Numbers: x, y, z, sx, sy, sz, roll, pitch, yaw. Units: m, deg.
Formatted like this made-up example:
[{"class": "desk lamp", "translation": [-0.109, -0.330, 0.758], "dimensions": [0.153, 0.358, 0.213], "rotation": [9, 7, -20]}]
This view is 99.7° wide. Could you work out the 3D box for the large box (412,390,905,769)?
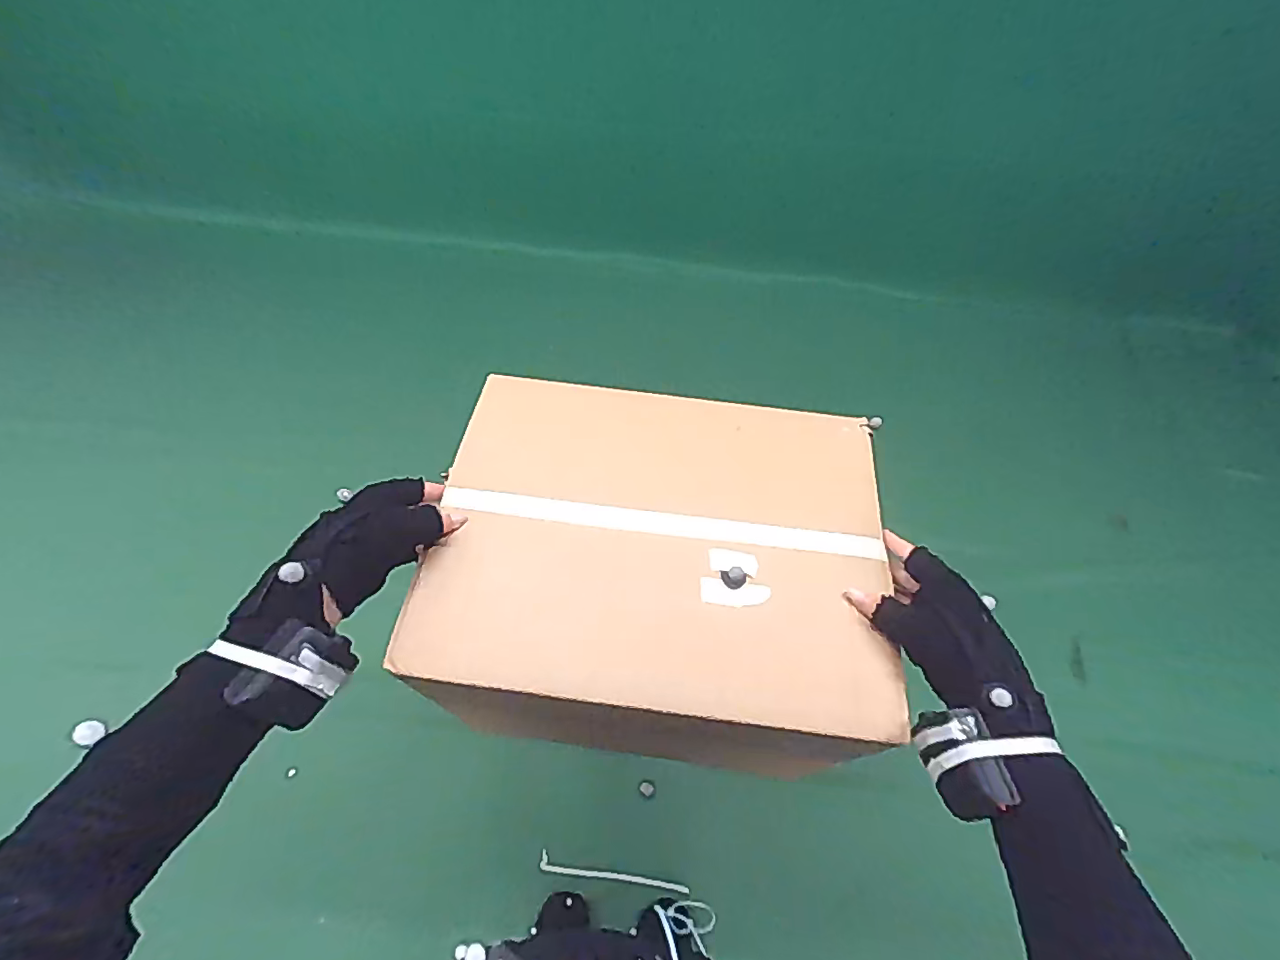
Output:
[{"class": "large box", "translation": [0.019, 0.129, 0.631], "dimensions": [0.408, 0.320, 0.320], "rotation": [7, 57, 1]}]
